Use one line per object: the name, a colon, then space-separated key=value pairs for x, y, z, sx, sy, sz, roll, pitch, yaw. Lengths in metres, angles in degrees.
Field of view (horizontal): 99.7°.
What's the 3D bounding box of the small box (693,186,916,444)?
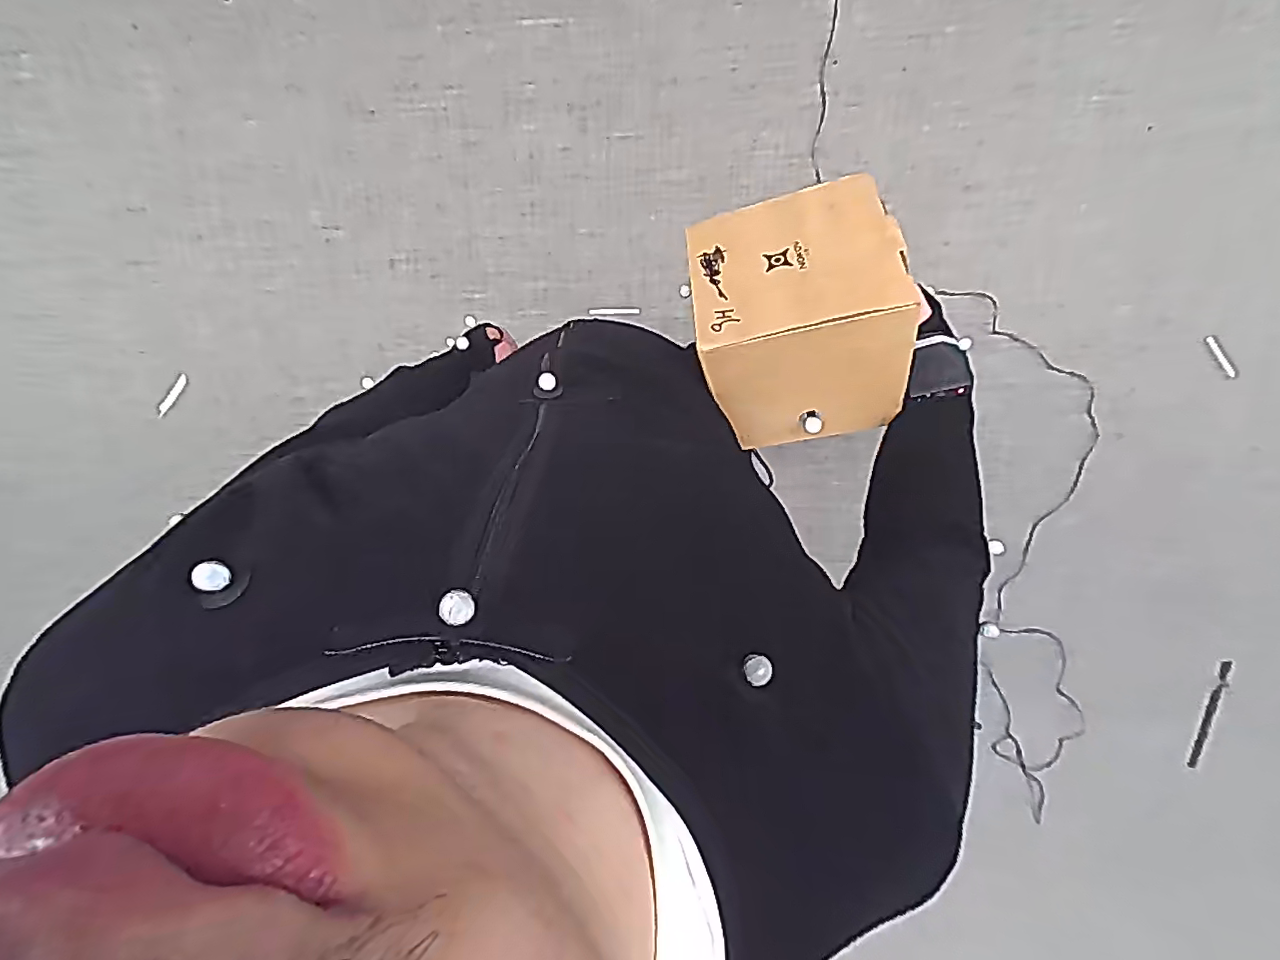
small box: x=0.159 y=-0.156 z=0.556 sx=0.179 sy=0.168 sz=0.176 roll=-9 pitch=149 yaw=14
